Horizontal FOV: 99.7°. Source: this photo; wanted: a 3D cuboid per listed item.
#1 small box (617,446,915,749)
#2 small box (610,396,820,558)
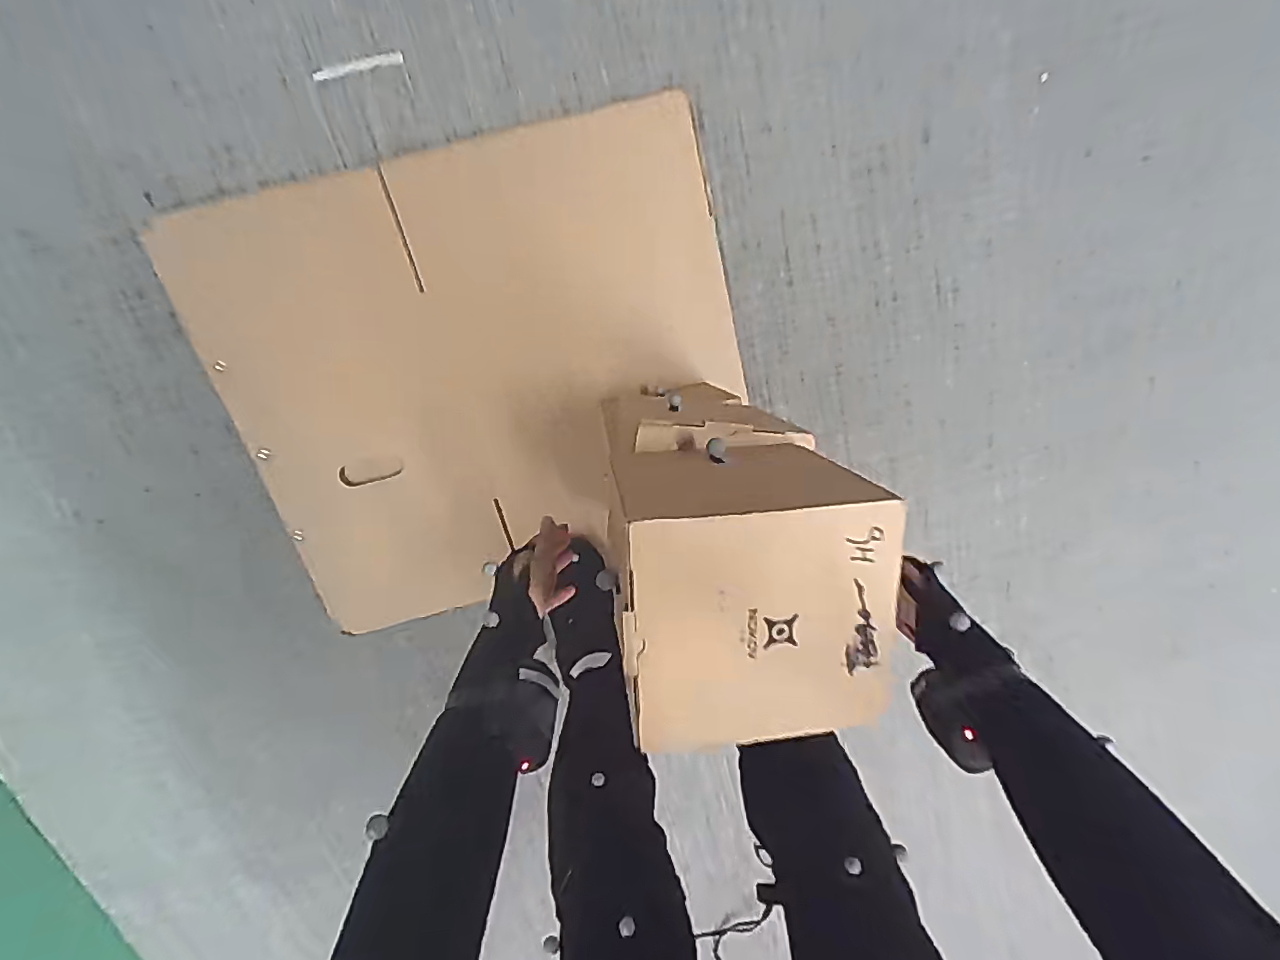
[{"bbox_3d":[0.073,0.071,0.414,0.179,0.176,0.168,-3,106,-6],"label":"small box"},{"bbox_3d":[0.062,0.012,0.567,0.168,0.176,0.179,5,106,-9],"label":"small box"}]
